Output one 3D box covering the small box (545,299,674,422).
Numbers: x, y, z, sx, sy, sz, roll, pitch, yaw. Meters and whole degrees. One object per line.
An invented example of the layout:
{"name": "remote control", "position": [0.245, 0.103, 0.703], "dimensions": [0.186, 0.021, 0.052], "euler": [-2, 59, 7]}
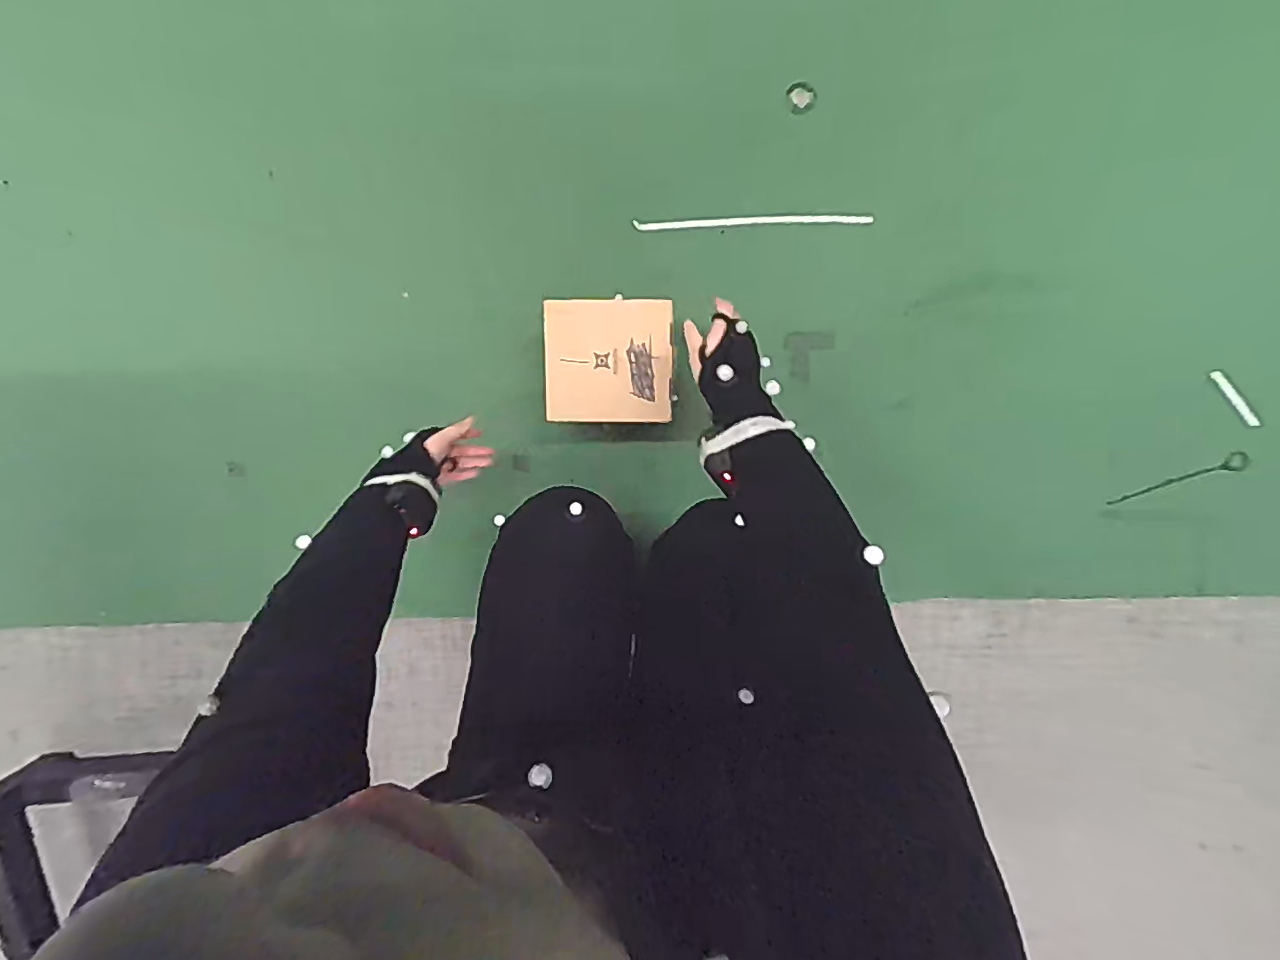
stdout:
{"name": "small box", "position": [-0.040, -0.176, 0.820], "dimensions": [0.179, 0.176, 0.168], "euler": [1, 99, 3]}
